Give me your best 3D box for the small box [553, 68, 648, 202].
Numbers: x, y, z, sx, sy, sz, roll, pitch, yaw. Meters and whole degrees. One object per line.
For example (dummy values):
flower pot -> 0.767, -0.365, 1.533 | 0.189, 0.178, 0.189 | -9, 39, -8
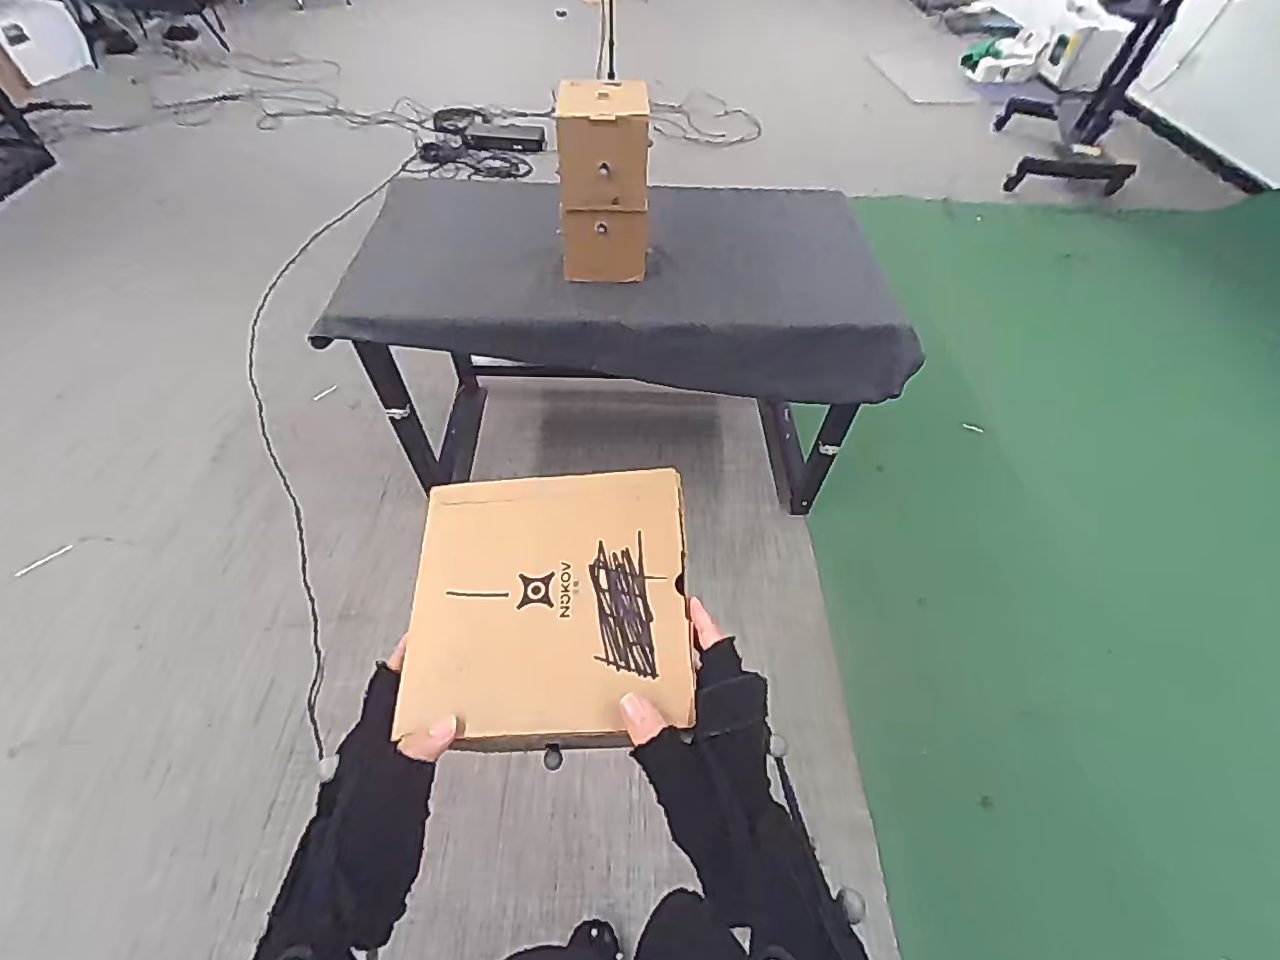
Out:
small box -> -0.070, -0.655, 1.032 | 0.168, 0.176, 0.179 | 0, 55, -3

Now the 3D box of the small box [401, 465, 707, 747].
small box -> -0.053, 0.104, 0.410 | 0.179, 0.176, 0.168 | -5, 63, -1

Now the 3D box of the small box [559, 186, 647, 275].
small box -> -0.077, -0.562, 1.167 | 0.179, 0.176, 0.168 | 1, 54, -4
